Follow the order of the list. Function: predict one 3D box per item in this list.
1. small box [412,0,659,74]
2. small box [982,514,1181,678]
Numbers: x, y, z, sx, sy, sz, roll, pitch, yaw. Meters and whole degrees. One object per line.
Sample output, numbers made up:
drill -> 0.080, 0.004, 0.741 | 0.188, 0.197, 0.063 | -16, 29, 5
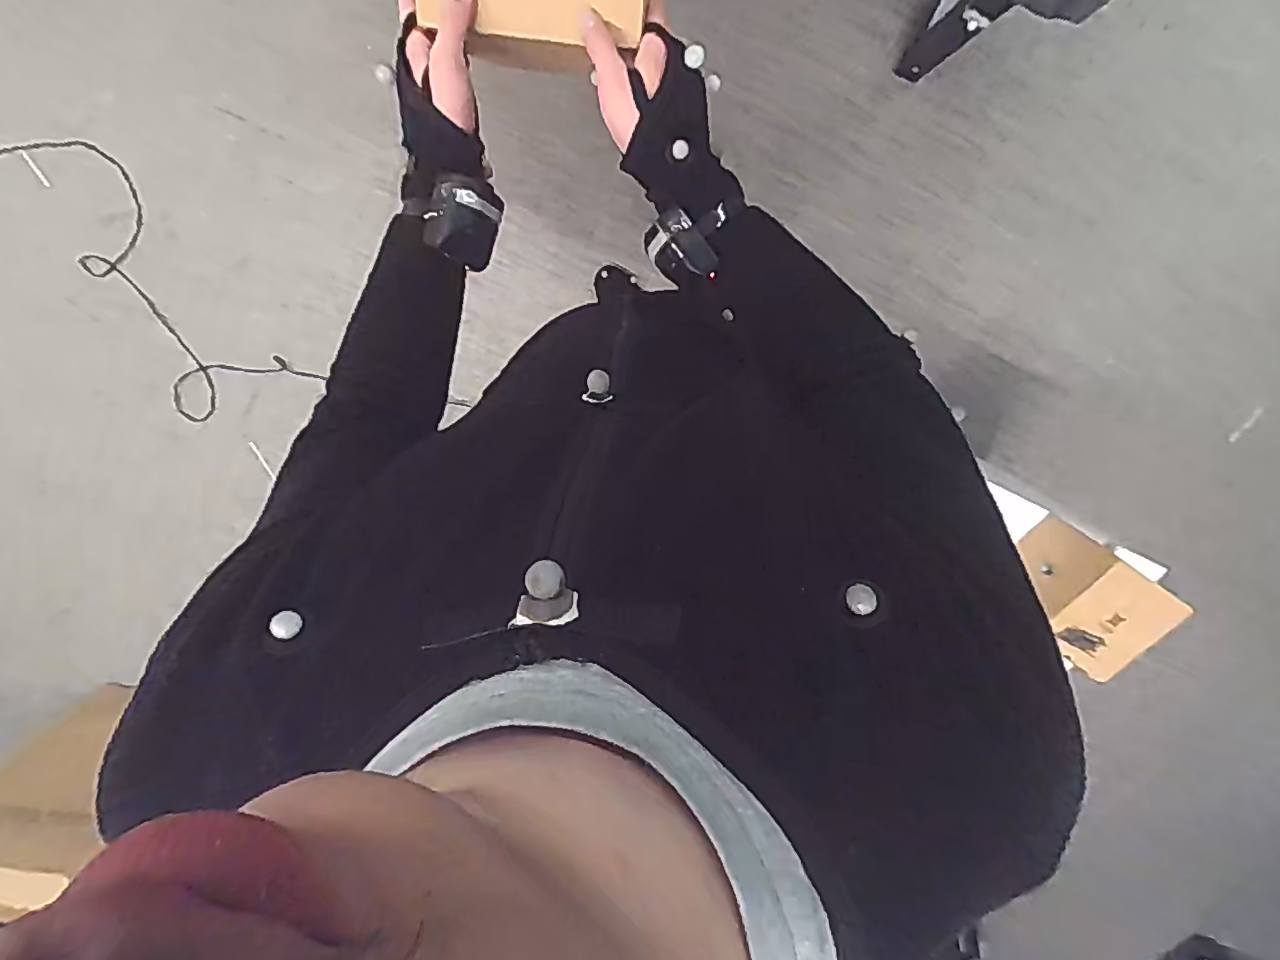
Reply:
small box -> -0.068, -0.443, 0.428 | 0.179, 0.176, 0.168 | 6, 117, 1
small box -> 0.731, 0.192, 0.926 | 0.168, 0.176, 0.179 | 32, 108, -11
